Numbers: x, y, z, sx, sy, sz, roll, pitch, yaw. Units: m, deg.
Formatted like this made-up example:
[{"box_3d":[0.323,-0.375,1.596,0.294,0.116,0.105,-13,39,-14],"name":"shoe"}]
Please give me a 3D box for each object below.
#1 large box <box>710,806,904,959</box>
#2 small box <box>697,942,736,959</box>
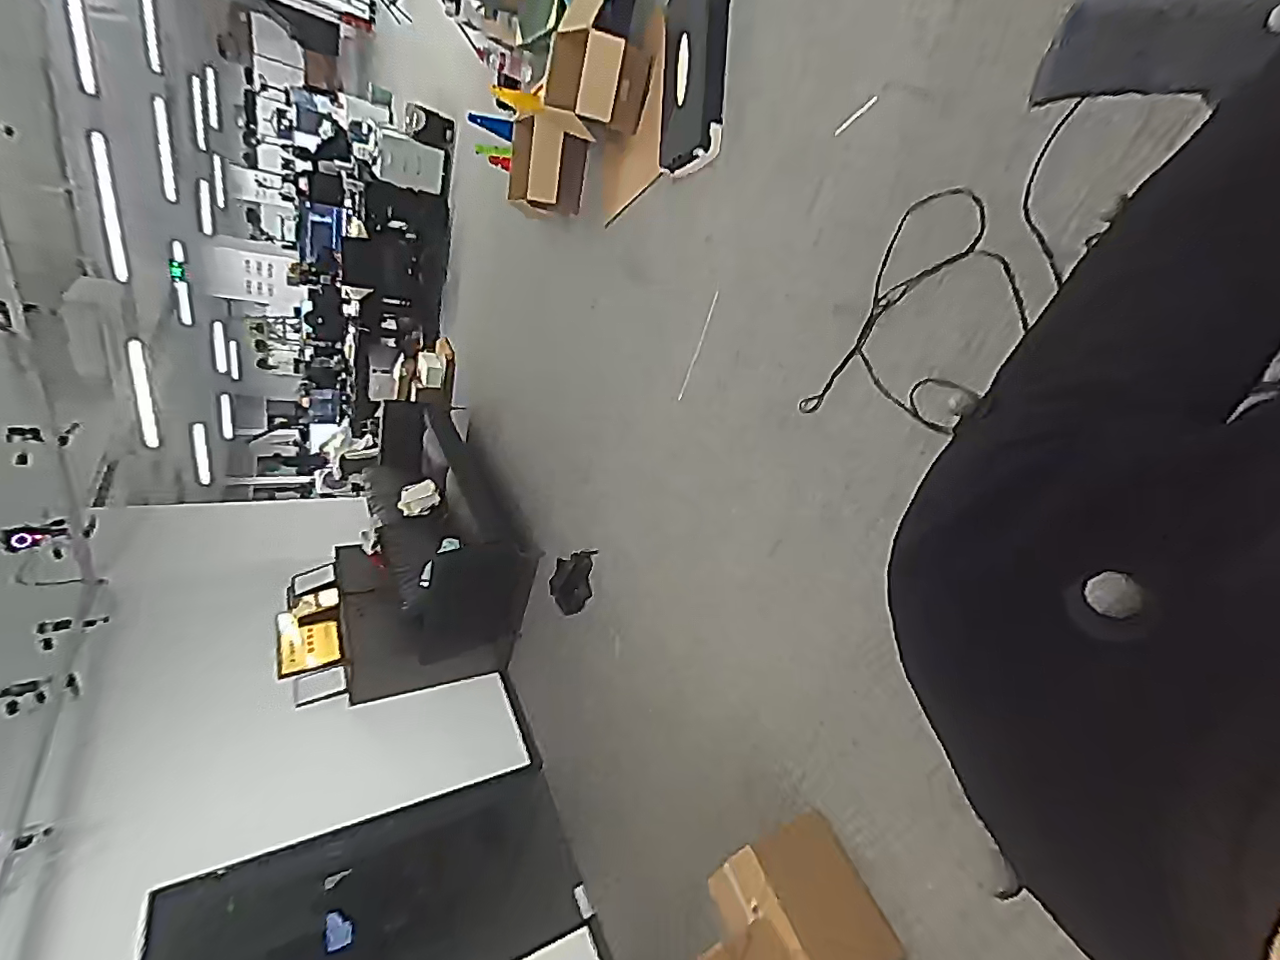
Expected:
[{"box_3d":[0.486,1.299,1.633,0.408,0.320,0.320,57,135,40],"name":"large box"},{"box_3d":[0.174,1.332,1.369,0.179,0.176,0.168,55,135,41],"name":"small box"}]
